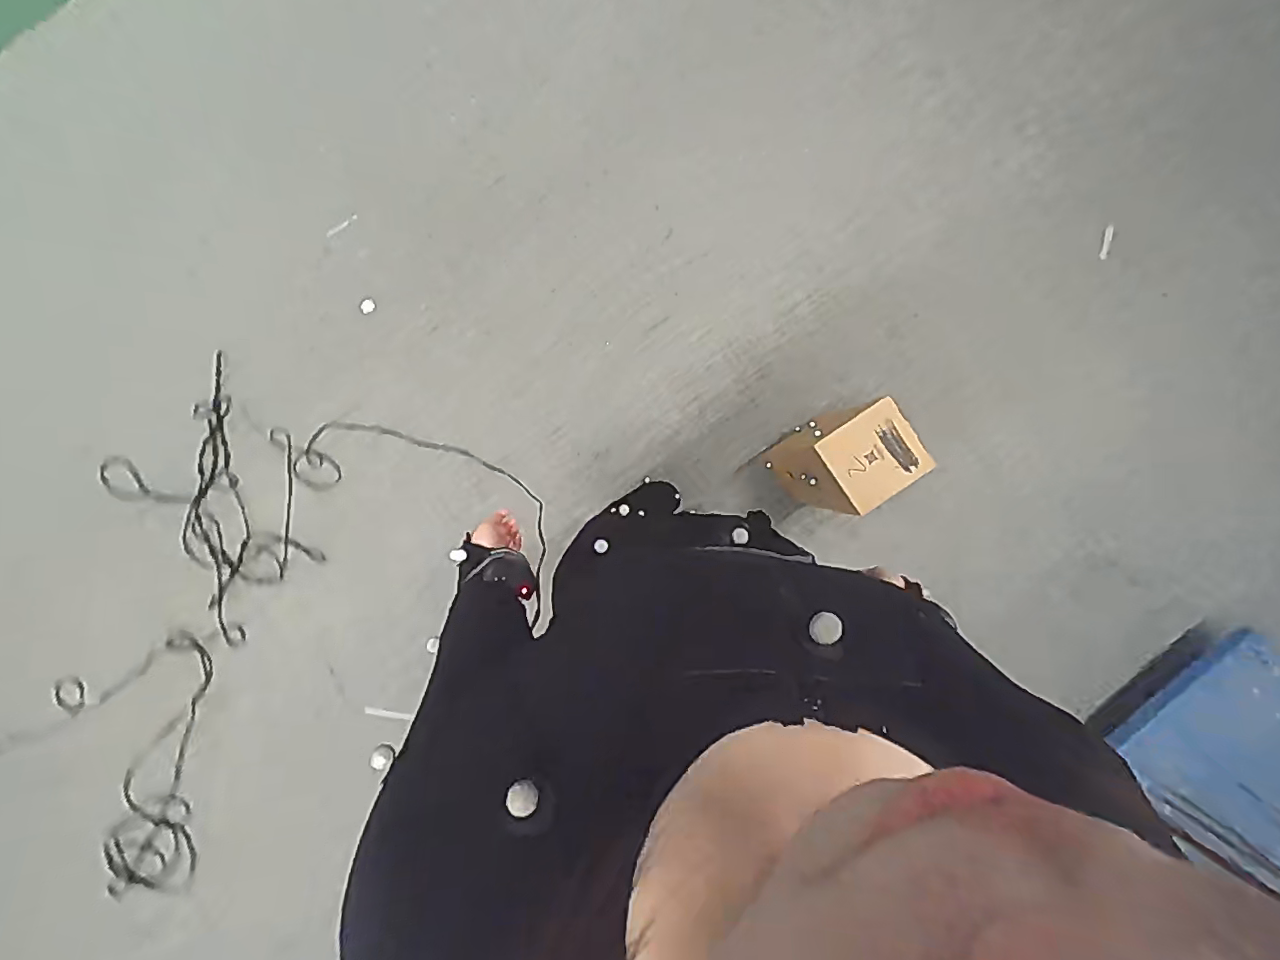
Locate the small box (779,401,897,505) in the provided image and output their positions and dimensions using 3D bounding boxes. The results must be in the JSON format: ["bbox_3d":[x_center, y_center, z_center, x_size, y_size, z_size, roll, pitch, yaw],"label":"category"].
[{"bbox_3d":[0.451,-0.058,1.264,0.168,0.176,0.179,-34,90,1],"label":"small box"}]

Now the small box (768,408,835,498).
[{"bbox_3d":[0.457,-0.065,1.428,0.179,0.176,0.168,-34,90,0],"label":"small box"}]
